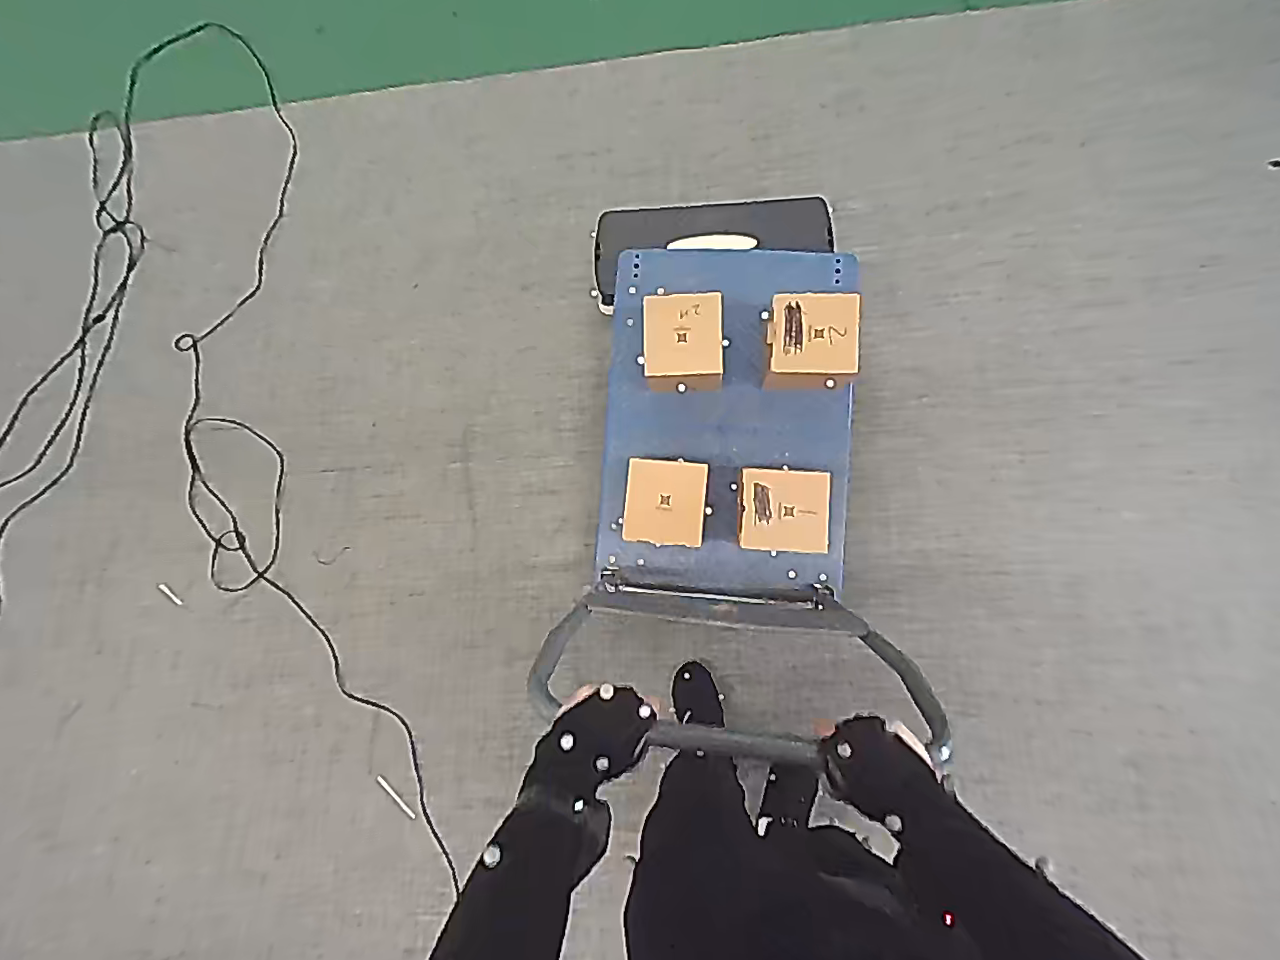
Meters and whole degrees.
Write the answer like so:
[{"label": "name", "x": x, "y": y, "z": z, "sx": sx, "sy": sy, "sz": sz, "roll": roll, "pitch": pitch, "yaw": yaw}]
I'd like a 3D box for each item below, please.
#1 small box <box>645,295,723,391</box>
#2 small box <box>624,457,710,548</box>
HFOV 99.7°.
[{"label": "small box", "x": 0.101, "y": -0.299, "z": 1.218, "sx": 0.168, "sy": 0.176, "sz": 0.179, "roll": 0, "pitch": 86, "yaw": 5}, {"label": "small box", "x": 0.061, "y": 0.051, "z": 1.199, "sx": 0.168, "sy": 0.176, "sz": 0.179, "roll": 6, "pitch": 88, "yaw": 6}]
